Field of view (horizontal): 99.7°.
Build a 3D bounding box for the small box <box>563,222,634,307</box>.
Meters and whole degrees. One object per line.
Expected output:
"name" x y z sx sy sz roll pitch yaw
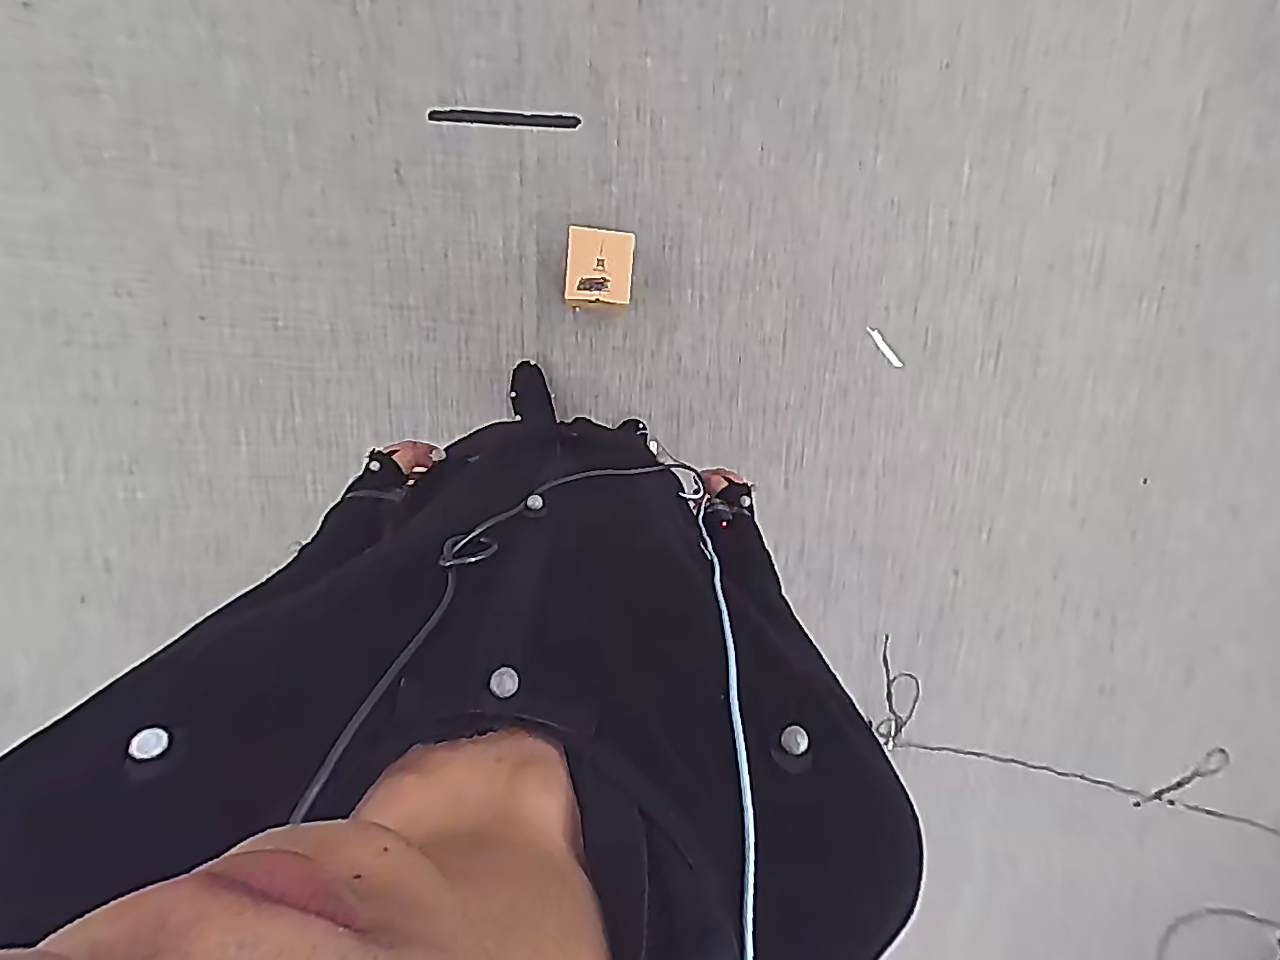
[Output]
"small box" -0.111 -0.561 1.432 0.168 0.176 0.179 4 101 -7
